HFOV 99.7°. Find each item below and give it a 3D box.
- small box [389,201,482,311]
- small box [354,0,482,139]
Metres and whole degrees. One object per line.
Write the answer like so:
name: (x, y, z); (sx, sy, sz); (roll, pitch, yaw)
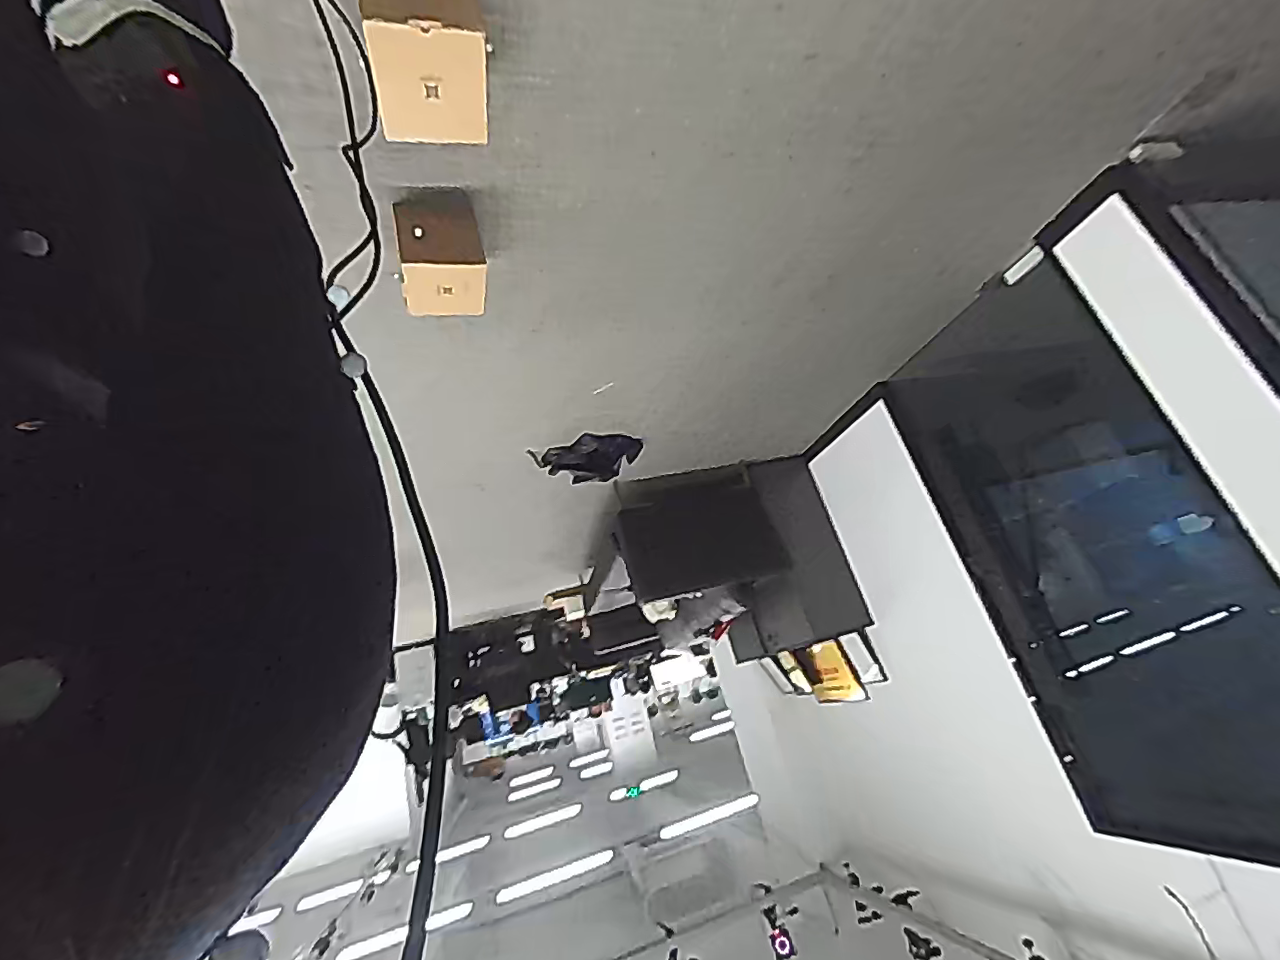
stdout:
small box: (-0.464, -0.505, 1.225); (0.179, 0.176, 0.168); (-9, 161, -22)
small box: (-0.344, -0.679, 0.849); (0.168, 0.176, 0.179); (-10, 159, -18)
